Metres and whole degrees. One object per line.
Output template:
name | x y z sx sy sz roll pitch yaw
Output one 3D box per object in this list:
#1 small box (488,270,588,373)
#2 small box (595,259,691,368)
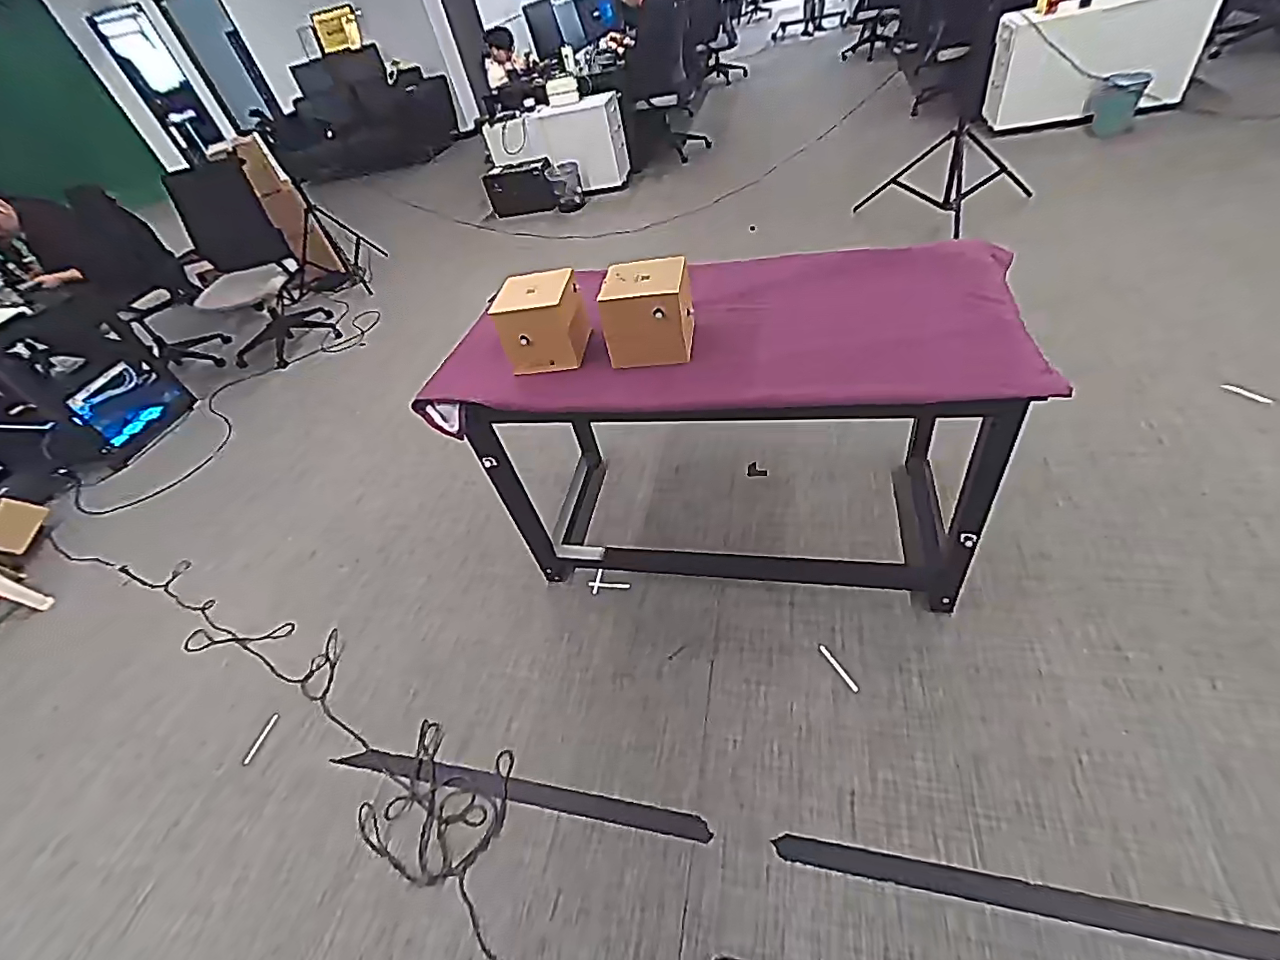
small box | -0.229 -0.365 1.274 0.168 0.176 0.179 -4 44 12
small box | 0.017 -0.366 1.202 0.179 0.176 0.168 -2 44 13
